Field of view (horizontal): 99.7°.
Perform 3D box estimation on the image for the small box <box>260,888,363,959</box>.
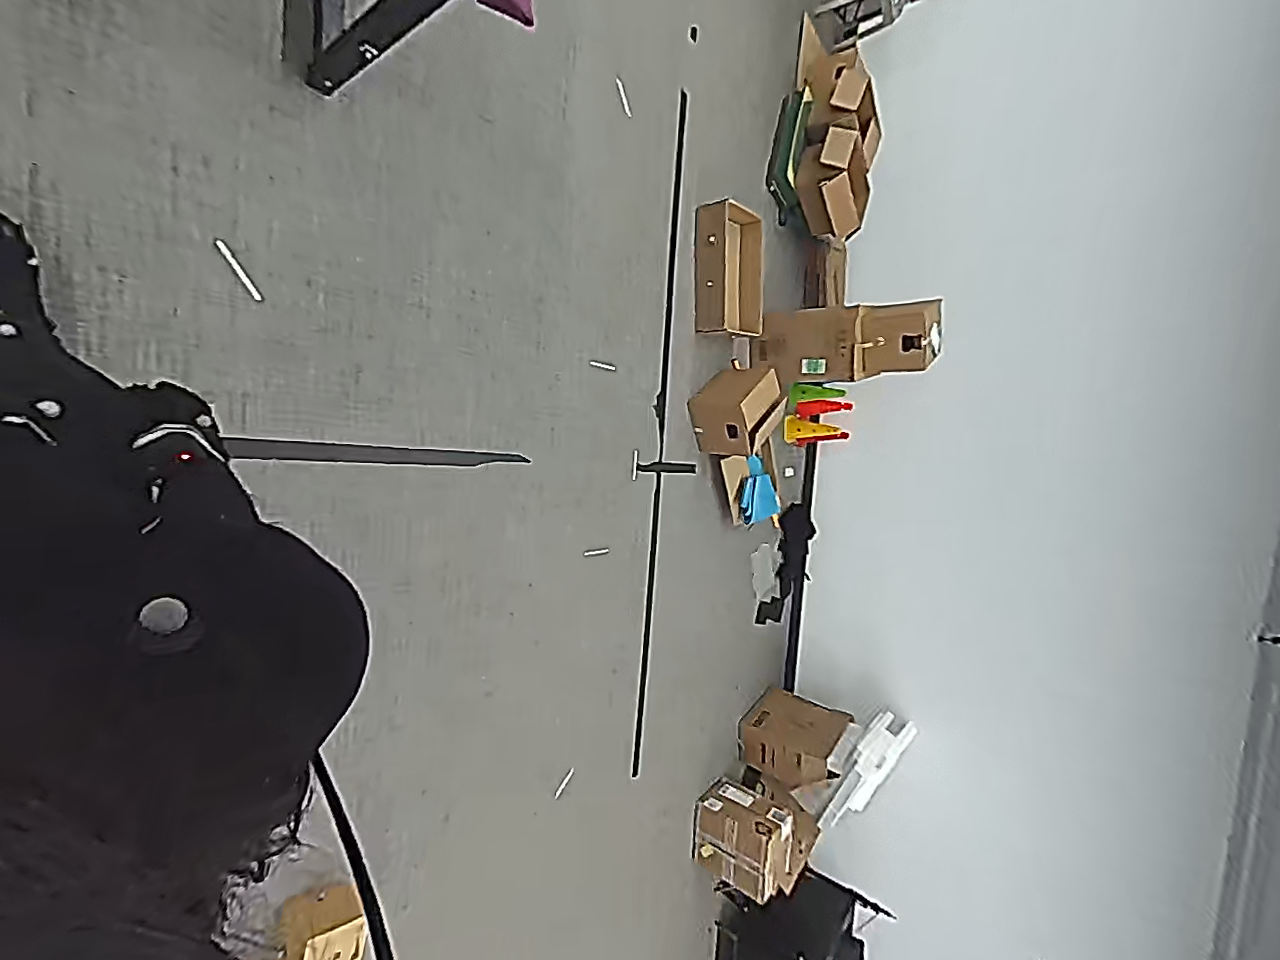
[{"bbox_3d":[-0.897,1.263,1.468,0.179,0.176,0.168,21,80,-52],"label":"small box"}]
